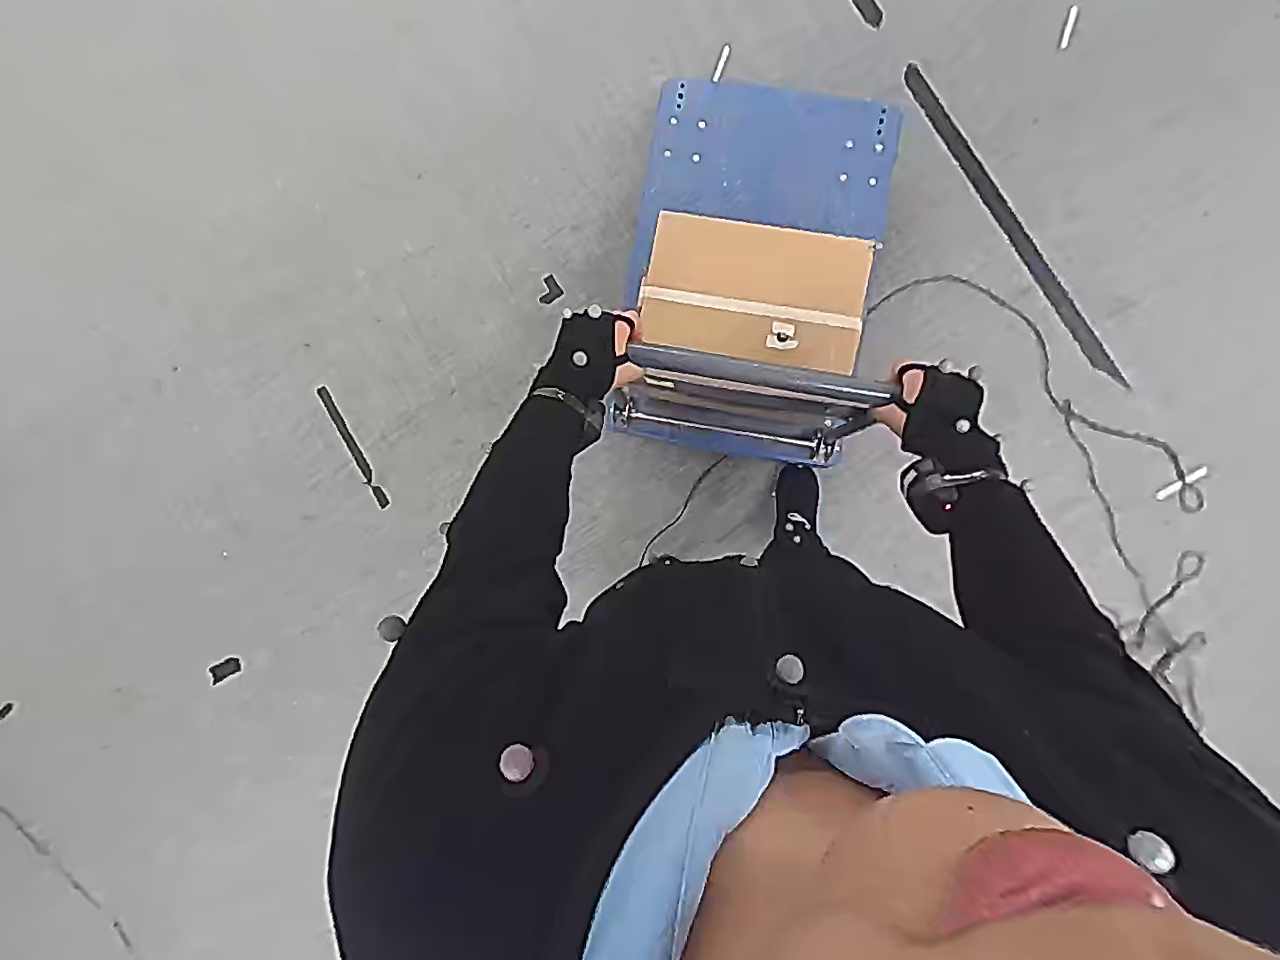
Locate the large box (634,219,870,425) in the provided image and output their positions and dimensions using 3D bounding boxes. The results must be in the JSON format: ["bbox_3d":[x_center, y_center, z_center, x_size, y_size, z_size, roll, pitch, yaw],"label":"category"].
[{"bbox_3d":[0.215,-0.313,1.159,0.408,0.320,0.320,10,92,4],"label":"large box"}]
